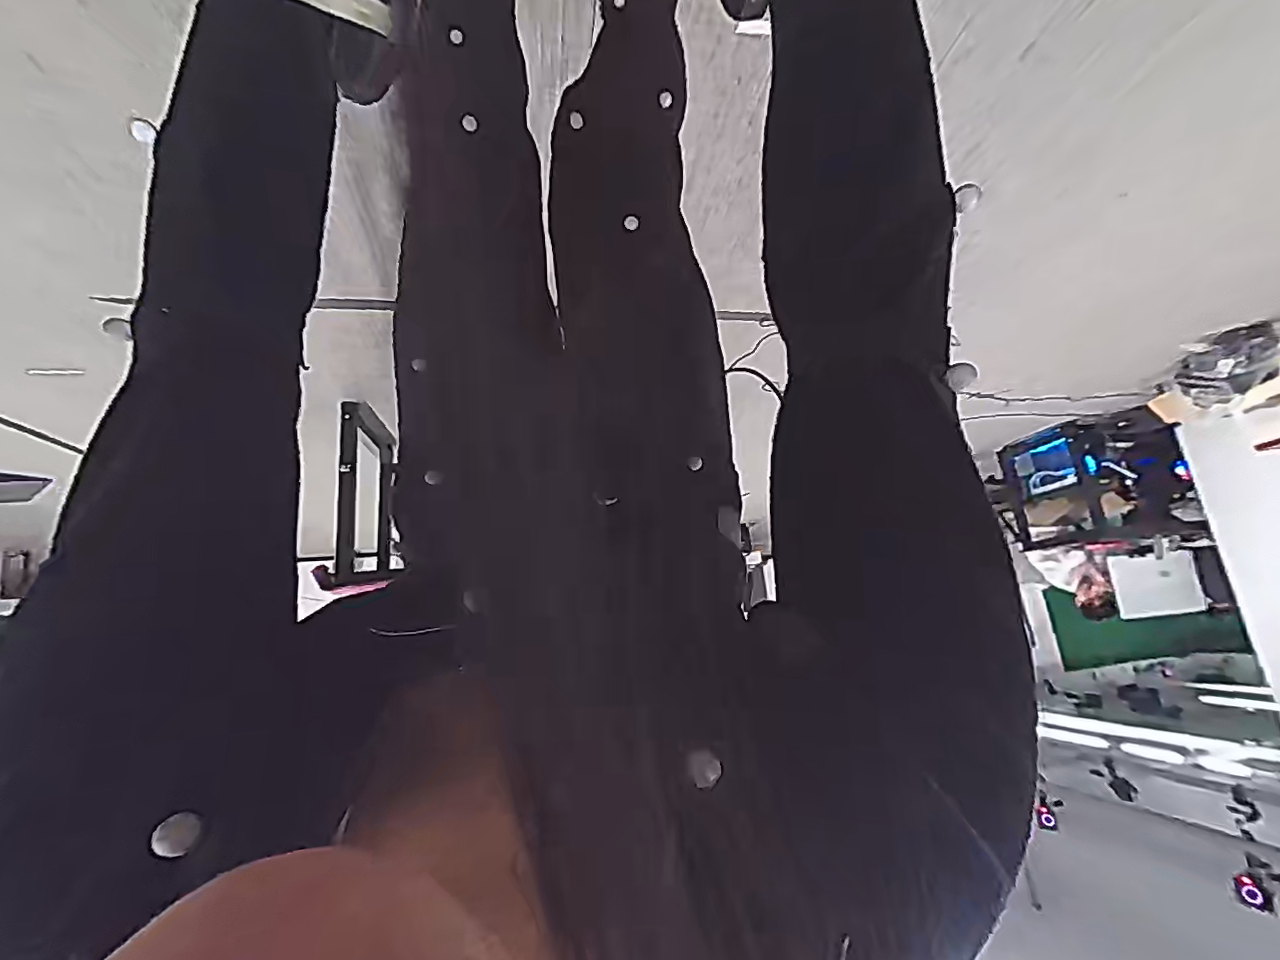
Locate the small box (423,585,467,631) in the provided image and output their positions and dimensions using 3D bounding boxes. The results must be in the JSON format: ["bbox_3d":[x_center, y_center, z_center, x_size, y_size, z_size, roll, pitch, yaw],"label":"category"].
[{"bbox_3d":[-0.795,0.526,2.216,0.168,0.176,0.179,-2,165,-18],"label":"small box"}]
